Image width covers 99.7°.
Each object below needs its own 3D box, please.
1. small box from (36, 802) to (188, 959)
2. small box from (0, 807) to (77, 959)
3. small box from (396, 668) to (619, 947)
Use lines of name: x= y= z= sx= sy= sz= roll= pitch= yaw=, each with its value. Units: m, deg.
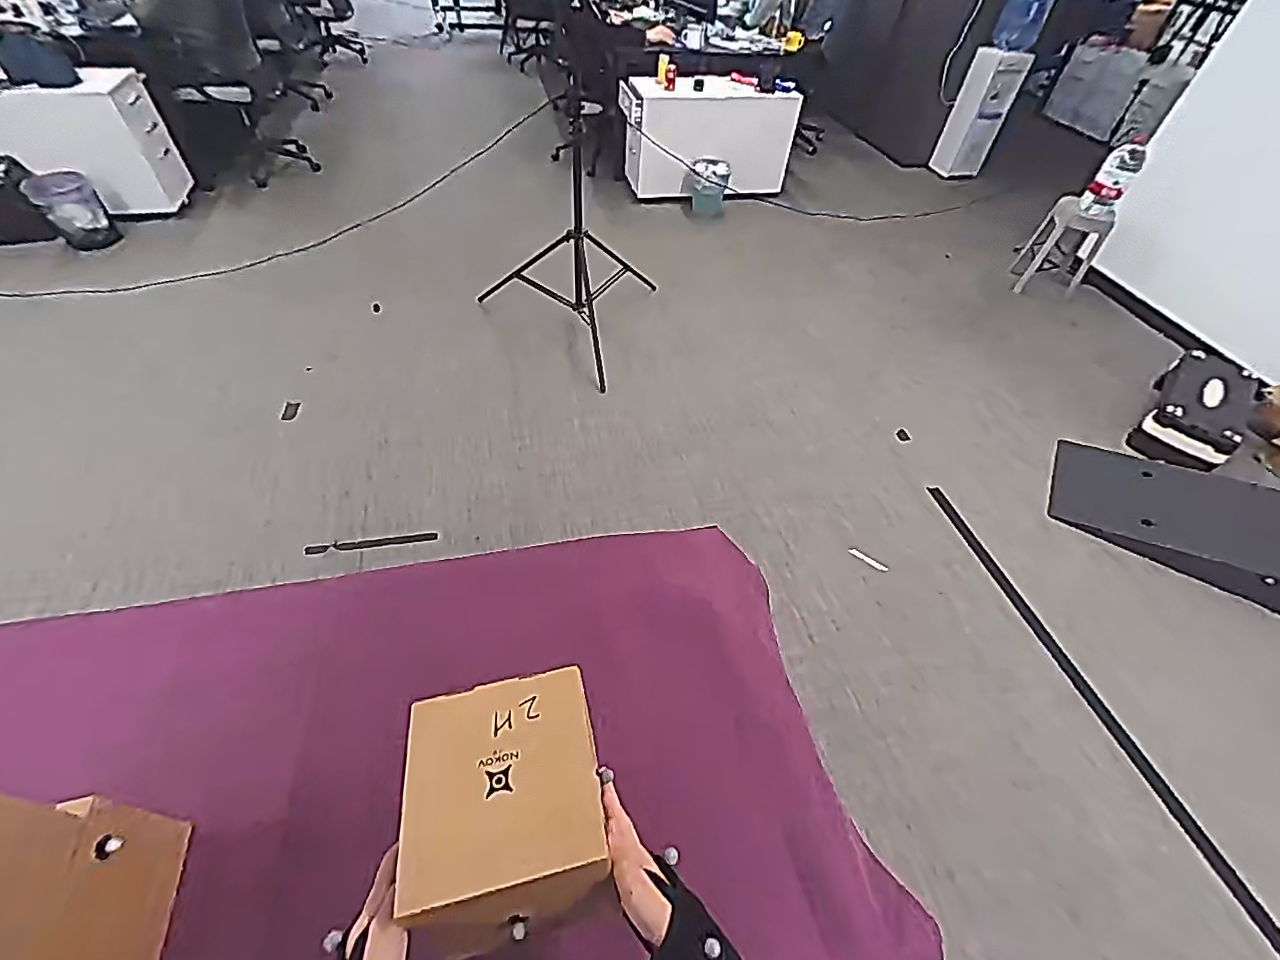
small box: x=-0.576 y=0.432 z=0.506 sx=0.168 sy=0.176 sz=0.179 roll=-9 pitch=50 yaw=-12
small box: x=-0.557 y=0.340 z=0.370 sx=0.168 sy=0.176 sz=0.179 roll=-12 pitch=52 yaw=-15
small box: x=-0.118 y=0.319 z=0.527 sx=0.168 sy=0.176 sz=0.179 roll=-10 pitch=41 yaw=-9
